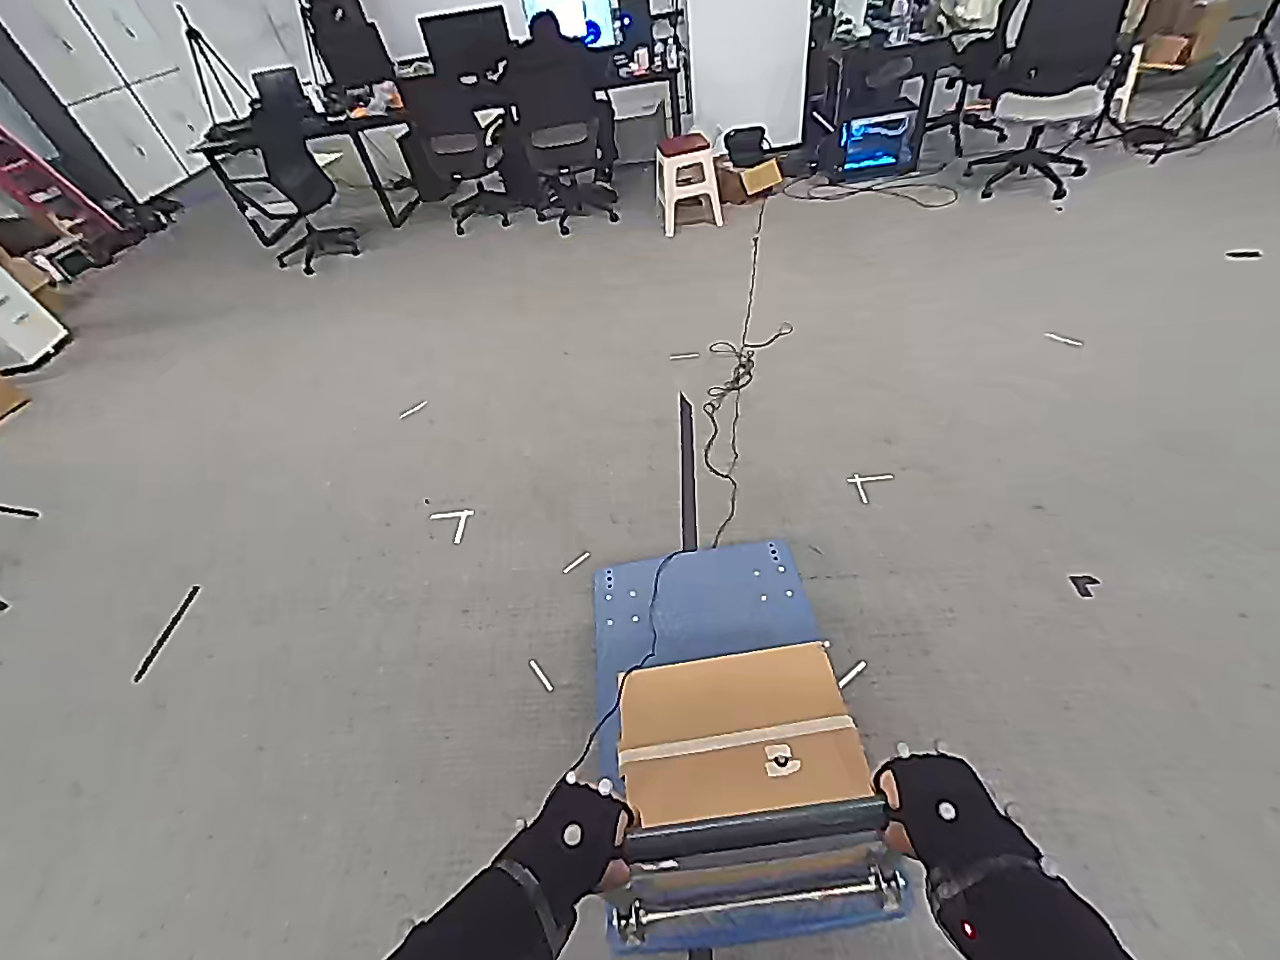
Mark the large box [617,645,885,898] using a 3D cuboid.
[{"bbox_3d":[0.187,0.563,1.039,0.408,0.320,0.320,-10,46,2],"label":"large box"}]
